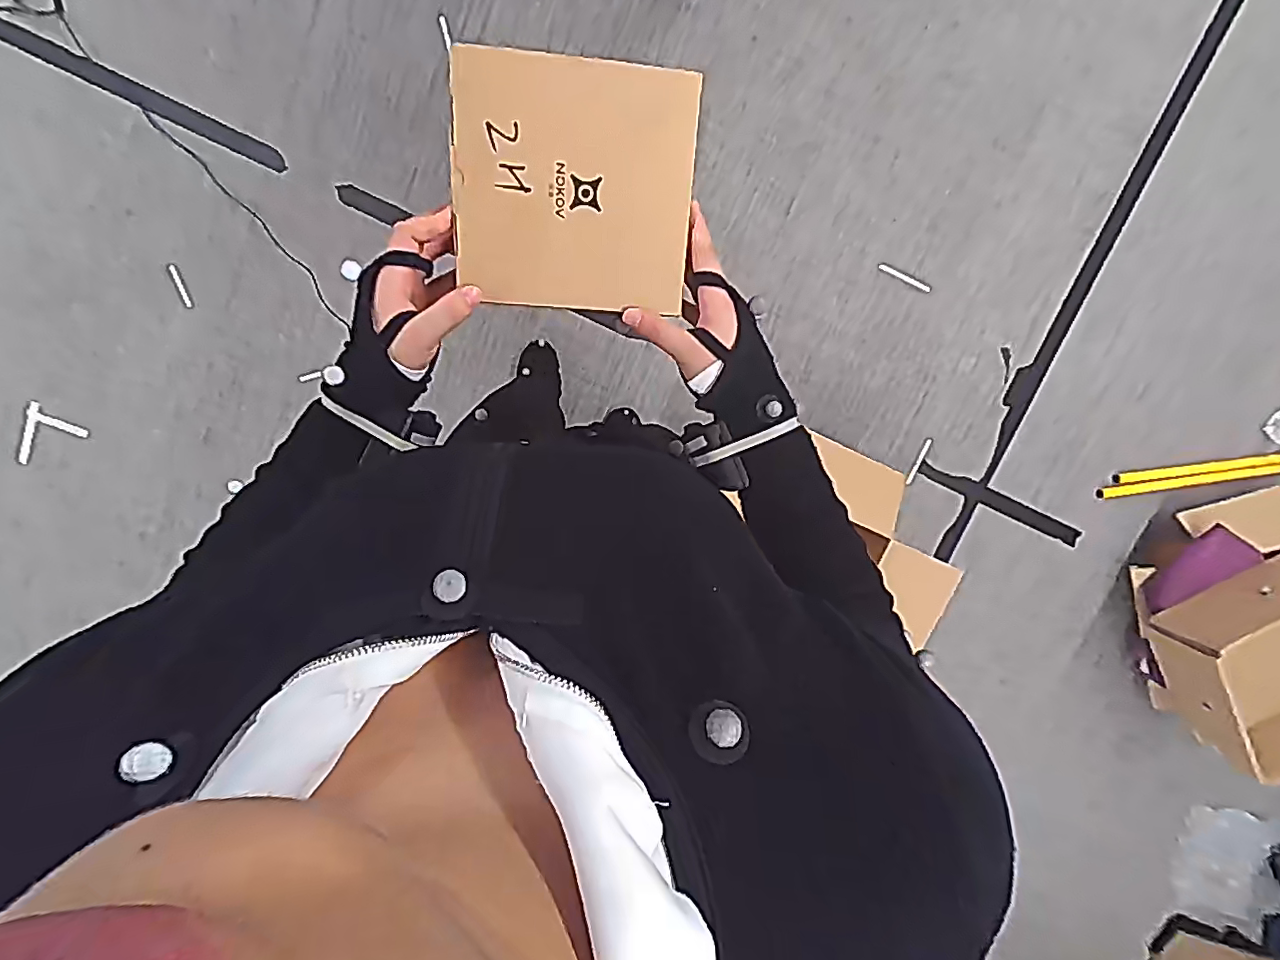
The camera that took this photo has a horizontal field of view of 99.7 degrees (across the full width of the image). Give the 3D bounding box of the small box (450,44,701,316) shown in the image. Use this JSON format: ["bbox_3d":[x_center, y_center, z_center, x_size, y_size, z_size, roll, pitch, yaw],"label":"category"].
[{"bbox_3d":[-0.056,-0.238,0.473,0.179,0.176,0.168,3,108,-6],"label":"small box"}]
